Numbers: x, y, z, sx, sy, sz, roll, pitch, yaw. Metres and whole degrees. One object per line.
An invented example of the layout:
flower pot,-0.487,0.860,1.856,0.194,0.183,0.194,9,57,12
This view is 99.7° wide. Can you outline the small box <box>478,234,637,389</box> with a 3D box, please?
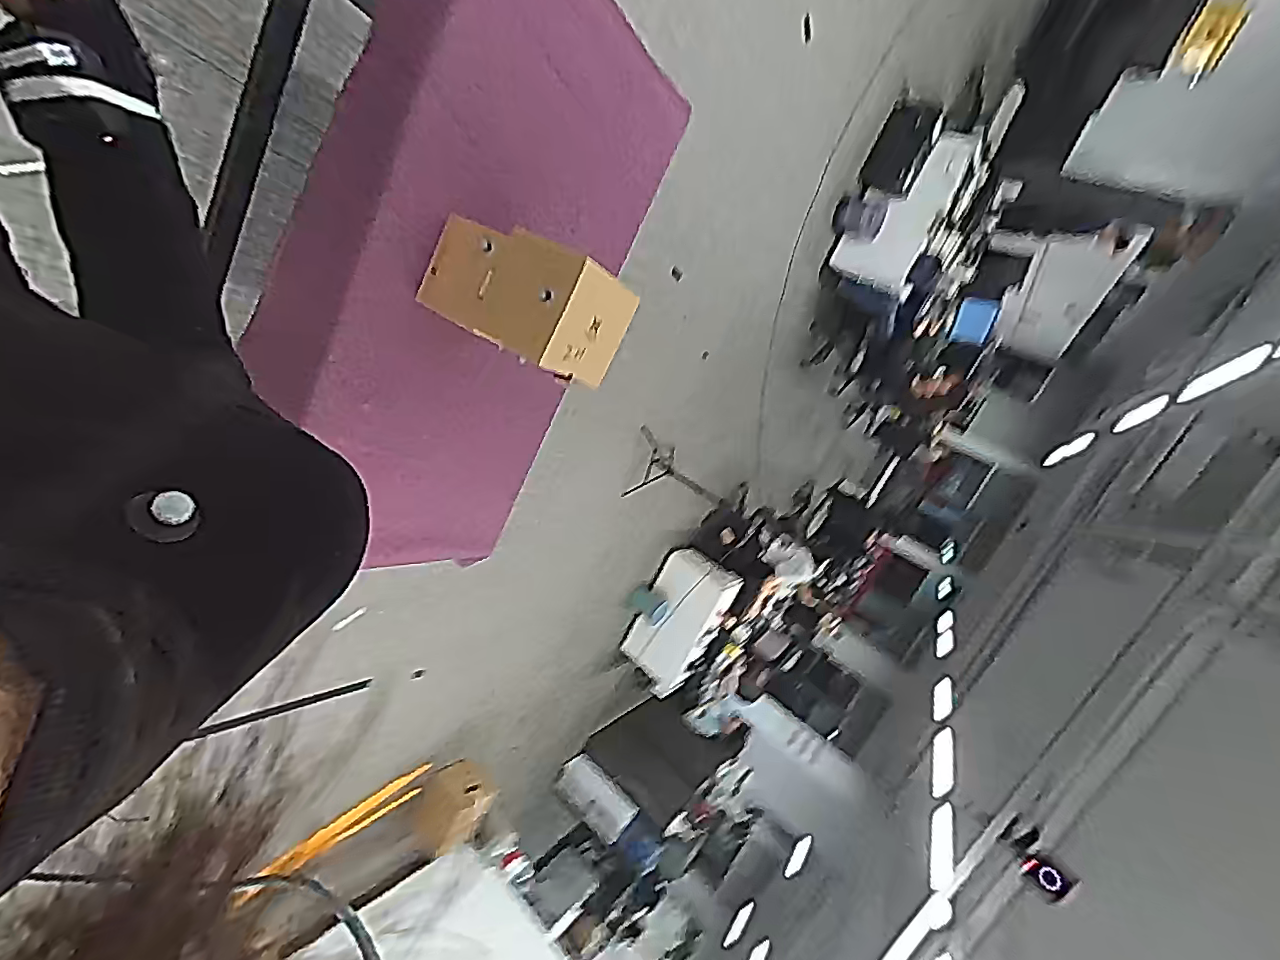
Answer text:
small box,-0.140,-0.281,0.909,0.168,0.176,0.179,11,110,-61
